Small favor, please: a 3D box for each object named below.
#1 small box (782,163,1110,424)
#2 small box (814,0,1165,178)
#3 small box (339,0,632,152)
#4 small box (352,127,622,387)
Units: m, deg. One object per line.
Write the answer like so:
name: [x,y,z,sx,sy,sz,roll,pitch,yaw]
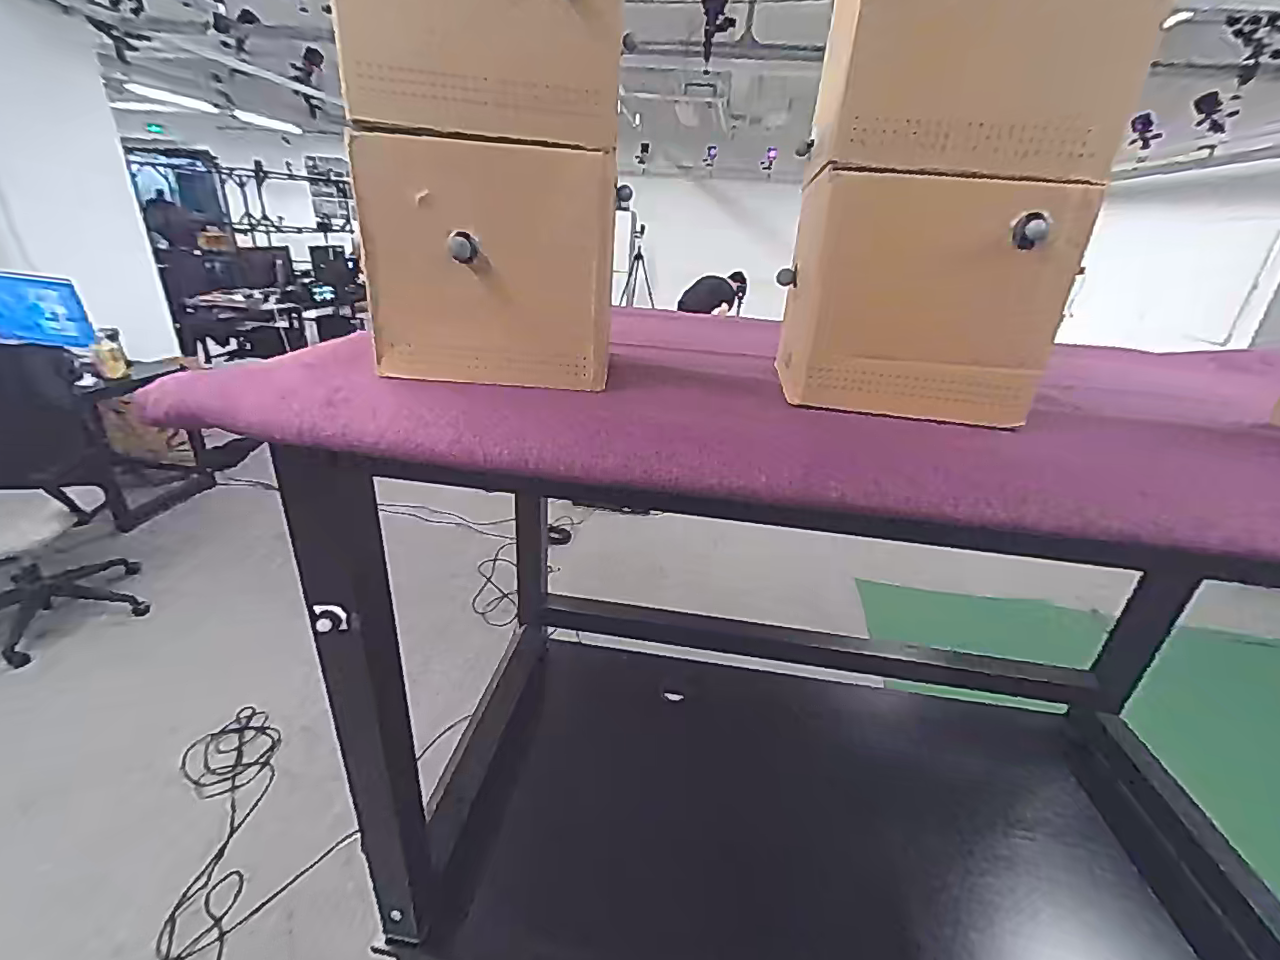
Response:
small box: [0.220,-0.152,0.452,0.179,0.176,0.168,8,24,7]
small box: [0.233,-0.304,0.391,0.179,0.176,0.168,9,24,6]
small box: [-0.095,-0.328,0.387,0.179,0.176,0.168,2,25,-6]
small box: [-0.106,-0.181,0.456,0.179,0.176,0.168,3,26,-3]
